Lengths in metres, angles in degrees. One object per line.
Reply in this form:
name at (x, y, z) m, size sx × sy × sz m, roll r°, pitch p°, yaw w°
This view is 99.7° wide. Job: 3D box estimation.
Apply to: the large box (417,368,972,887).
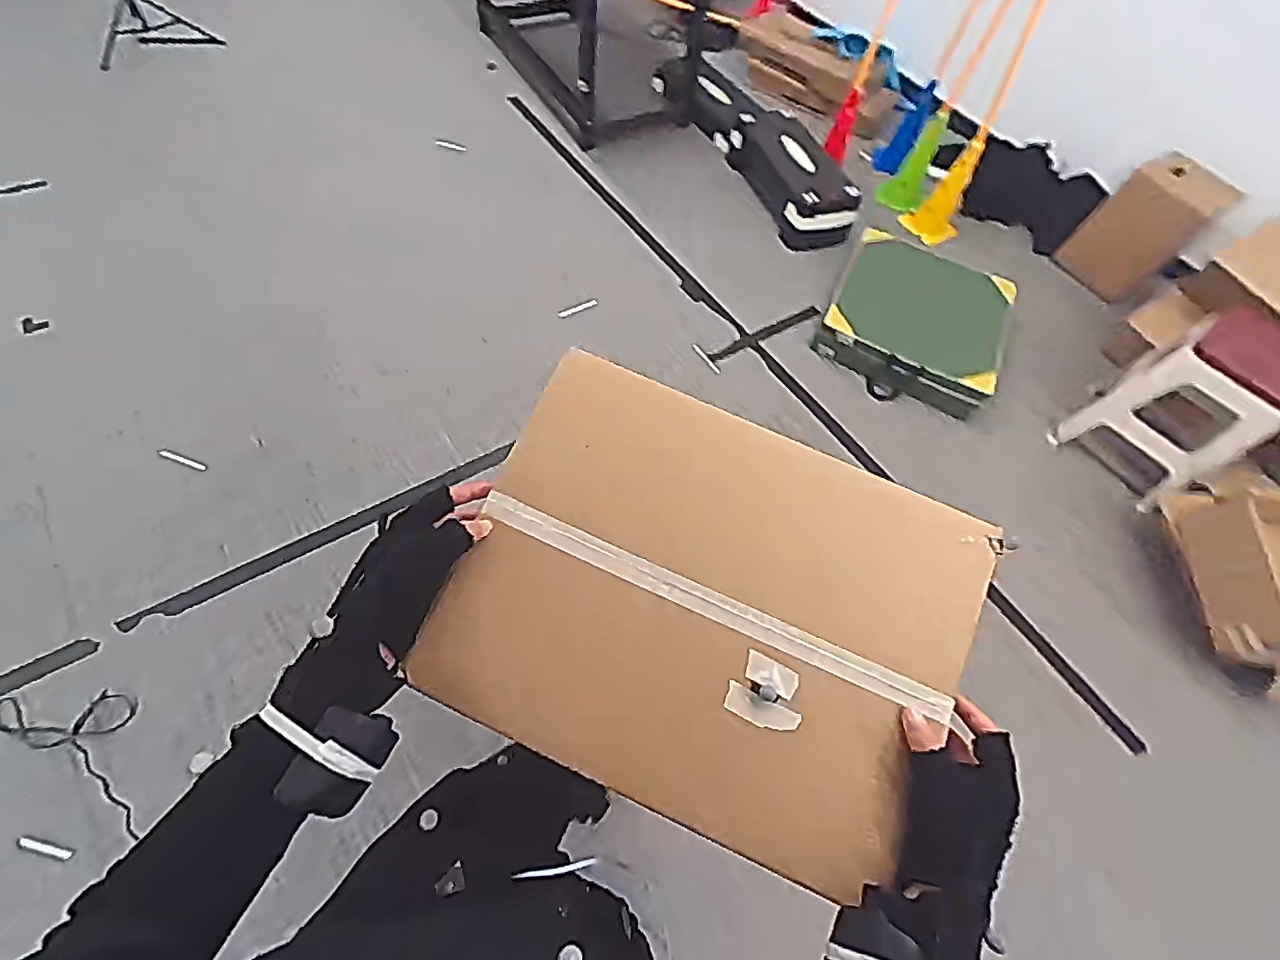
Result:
large box at (0.051, 0.137, 0.605) m, size 0.408 × 0.320 × 0.320 m, roll 24°, pitch 78°, yaw 5°
